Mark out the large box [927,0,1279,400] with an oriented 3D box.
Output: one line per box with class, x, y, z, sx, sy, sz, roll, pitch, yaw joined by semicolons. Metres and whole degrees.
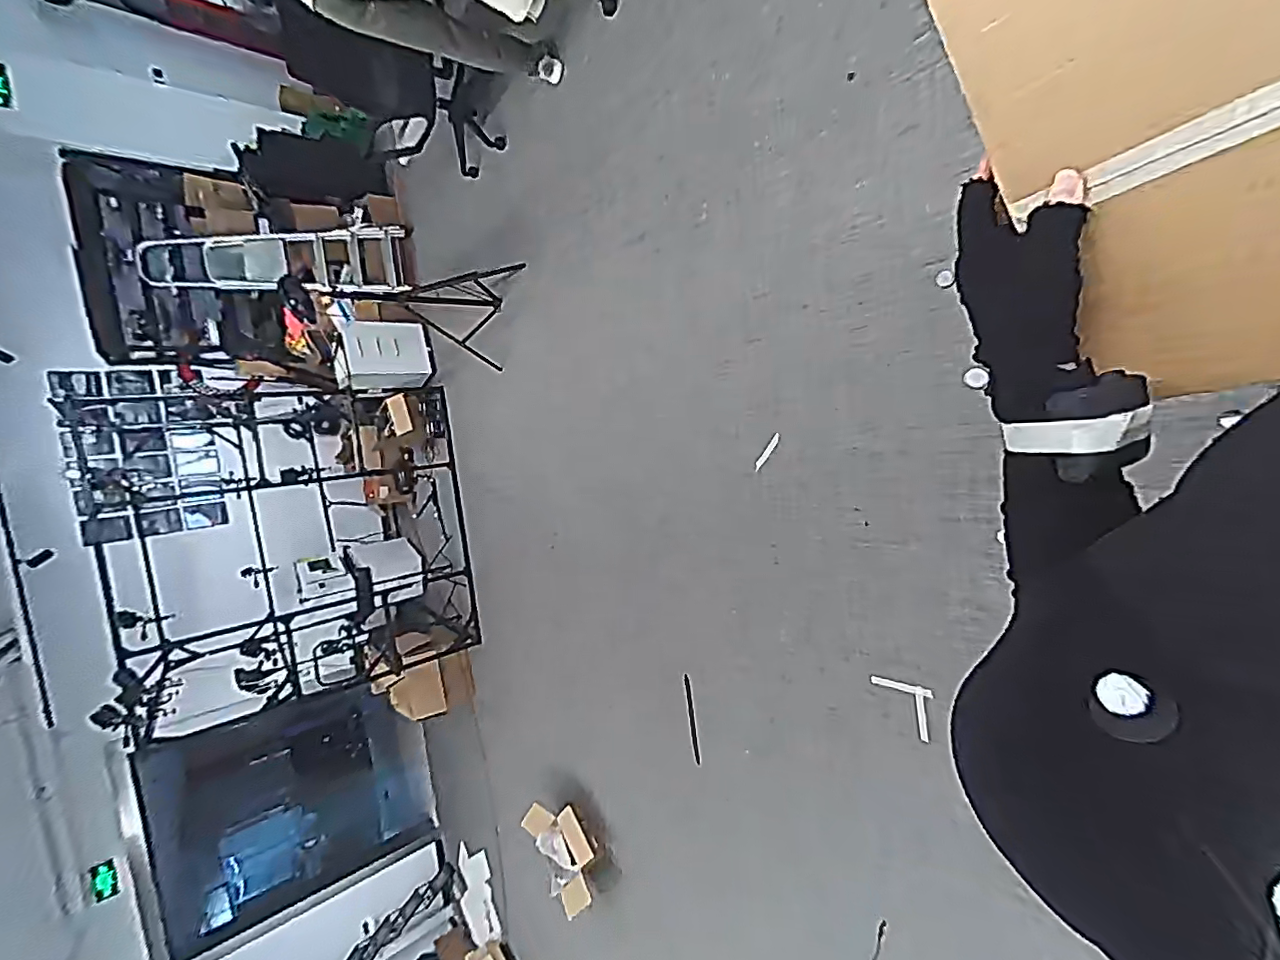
large box;0.452;-0.289;0.273;0.320;0.320;0.408;52;150;-17
